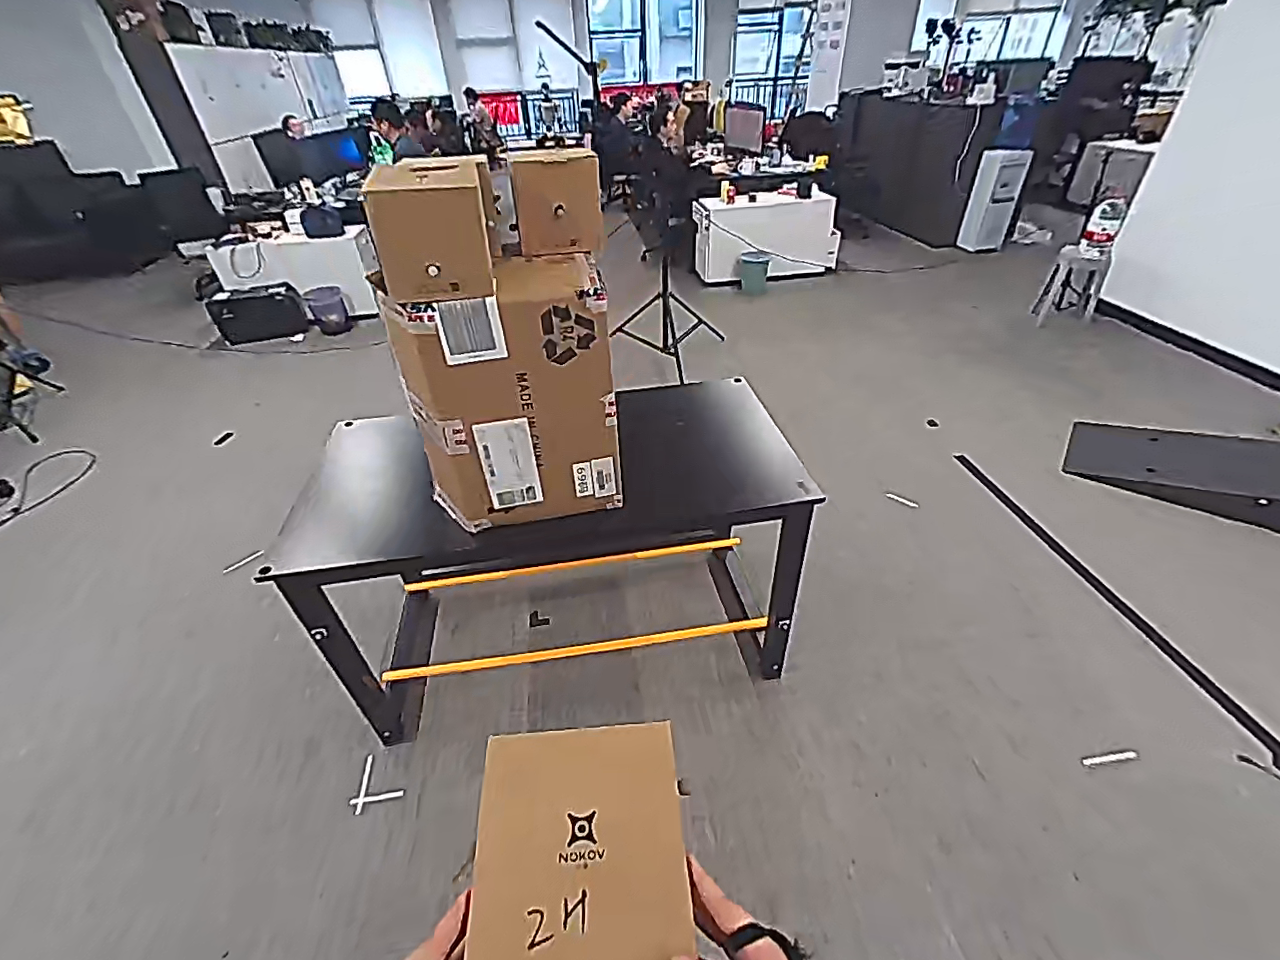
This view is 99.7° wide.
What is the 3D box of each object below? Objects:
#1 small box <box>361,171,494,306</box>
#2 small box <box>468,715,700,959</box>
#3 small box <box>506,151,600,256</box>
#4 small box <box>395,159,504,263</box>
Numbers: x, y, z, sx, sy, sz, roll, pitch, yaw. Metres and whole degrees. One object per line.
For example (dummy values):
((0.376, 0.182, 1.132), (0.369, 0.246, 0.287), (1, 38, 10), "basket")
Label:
((-0.341, -0.404, 0.901), (0.168, 0.176, 0.179), (-9, 40, -11), "small box")
((-0.045, 0.338, 0.489), (0.168, 0.176, 0.179), (-4, 45, -3), "small box")
((-0.178, -0.565, 1.109), (0.168, 0.176, 0.179), (-8, 37, -11), "small box")
((-0.373, -0.538, 1.084), (0.168, 0.176, 0.179), (-11, 37, -10), "small box")
